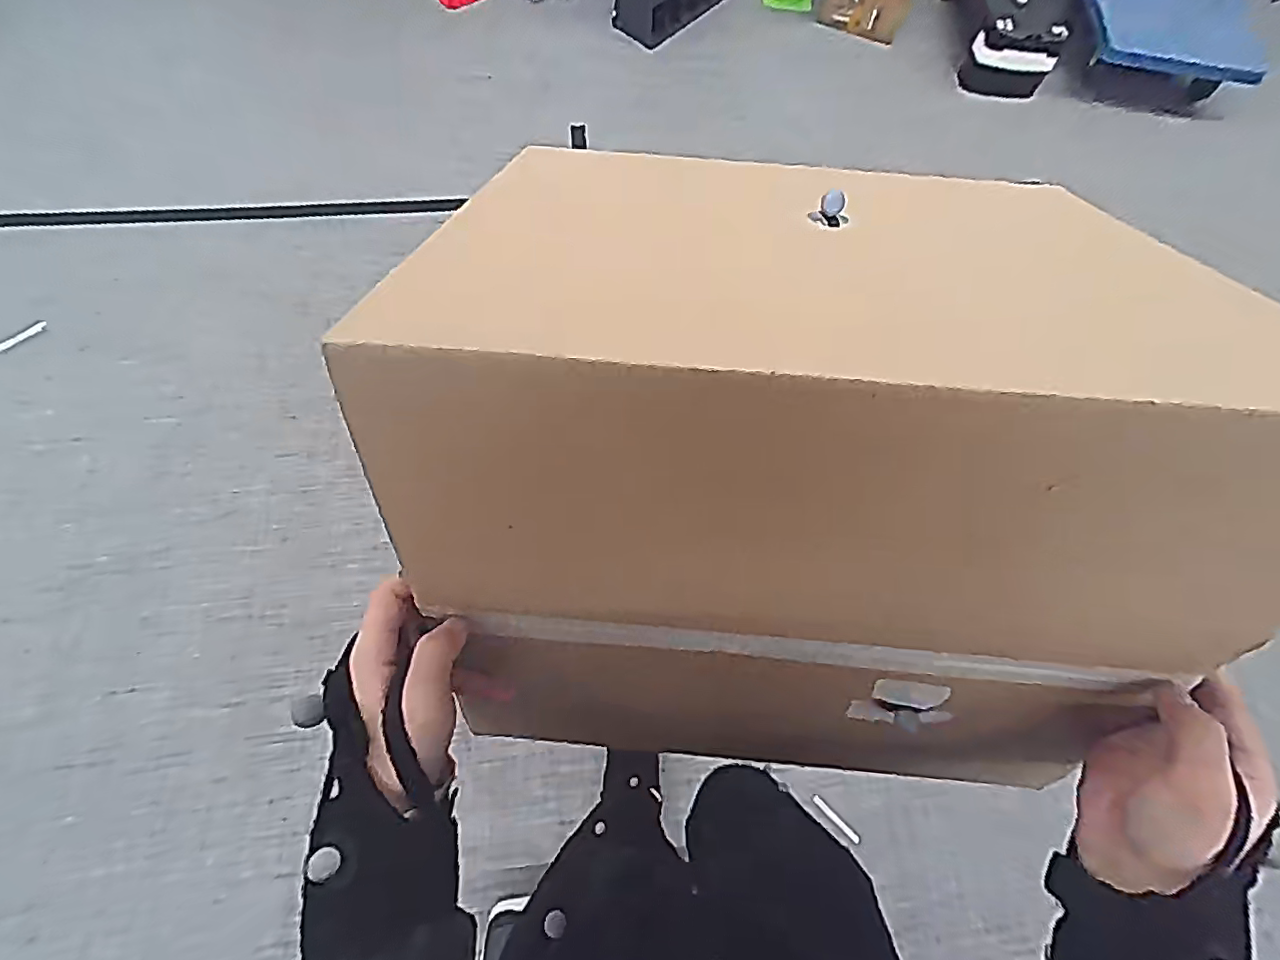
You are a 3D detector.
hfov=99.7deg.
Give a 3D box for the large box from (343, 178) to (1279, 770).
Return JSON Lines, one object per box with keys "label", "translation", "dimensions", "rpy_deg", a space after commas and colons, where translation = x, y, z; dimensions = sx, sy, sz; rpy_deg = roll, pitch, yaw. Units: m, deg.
{"label": "large box", "translation": [0.088, -0.016, 0.403], "dimensions": [0.408, 0.320, 0.320], "rpy_deg": [4, 43, 1]}
